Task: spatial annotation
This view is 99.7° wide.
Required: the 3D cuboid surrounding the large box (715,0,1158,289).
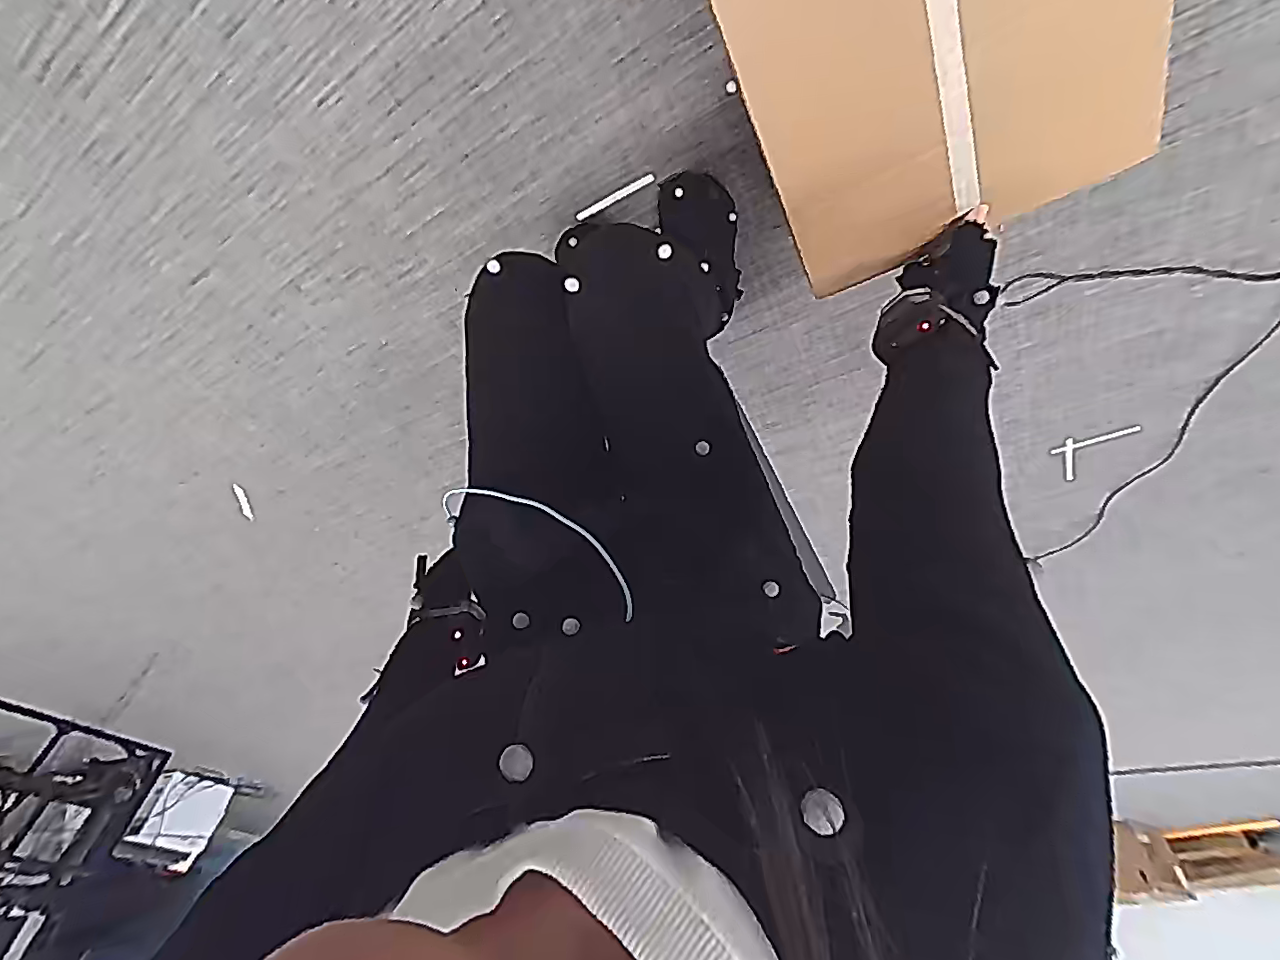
[{"bbox_3d":[0.258,-0.493,0.554,0.320,0.320,0.408,-20,131,23],"label":"large box"}]
